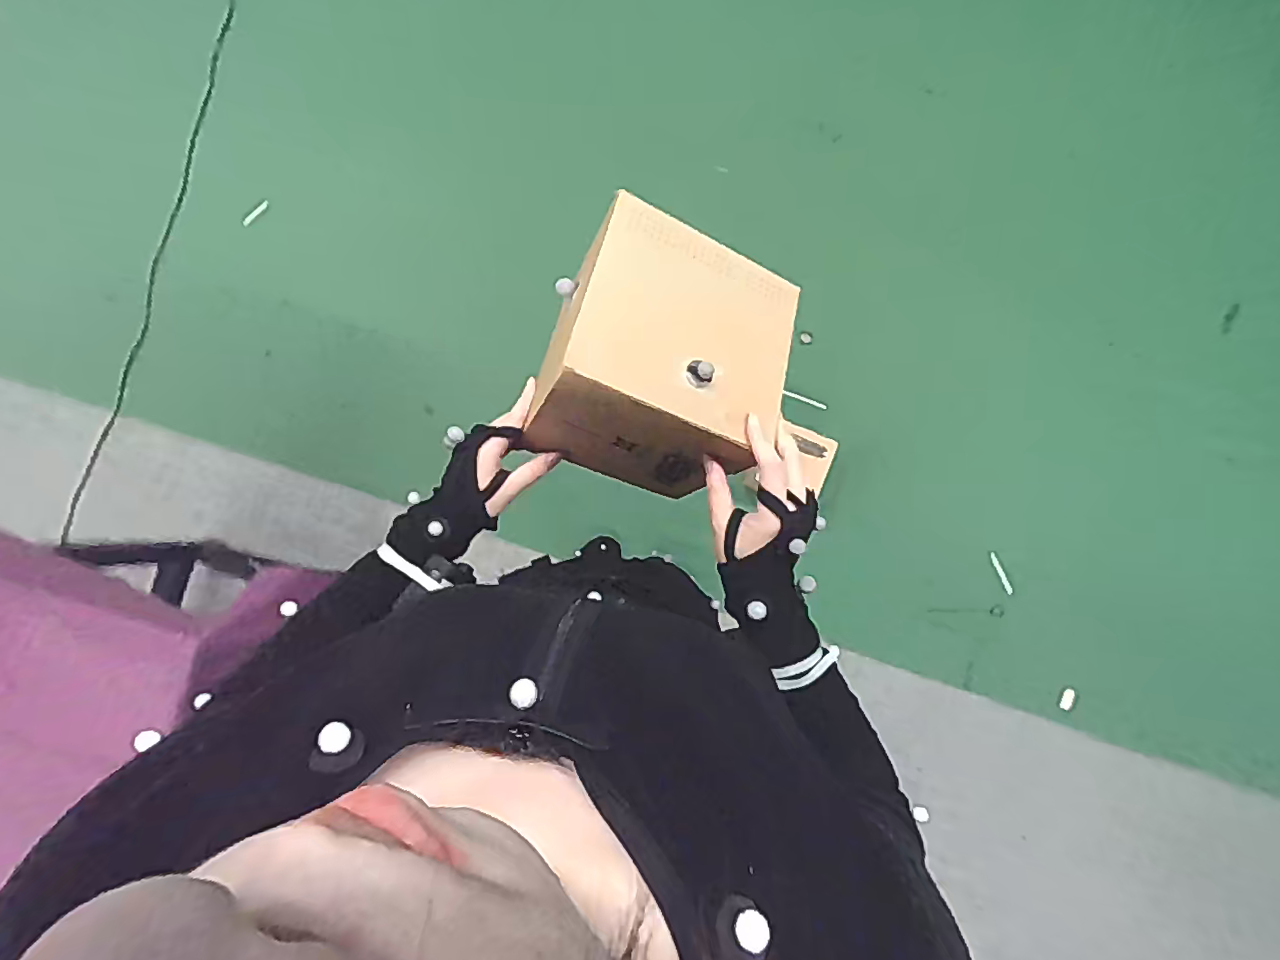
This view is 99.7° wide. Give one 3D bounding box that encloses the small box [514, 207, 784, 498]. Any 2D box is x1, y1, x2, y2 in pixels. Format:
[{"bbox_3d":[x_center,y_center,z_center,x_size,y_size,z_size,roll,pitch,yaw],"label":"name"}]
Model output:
[{"bbox_3d":[0.008,-0.102,0.487,0.179,0.168,0.176,21,69,-18],"label":"small box"}]
